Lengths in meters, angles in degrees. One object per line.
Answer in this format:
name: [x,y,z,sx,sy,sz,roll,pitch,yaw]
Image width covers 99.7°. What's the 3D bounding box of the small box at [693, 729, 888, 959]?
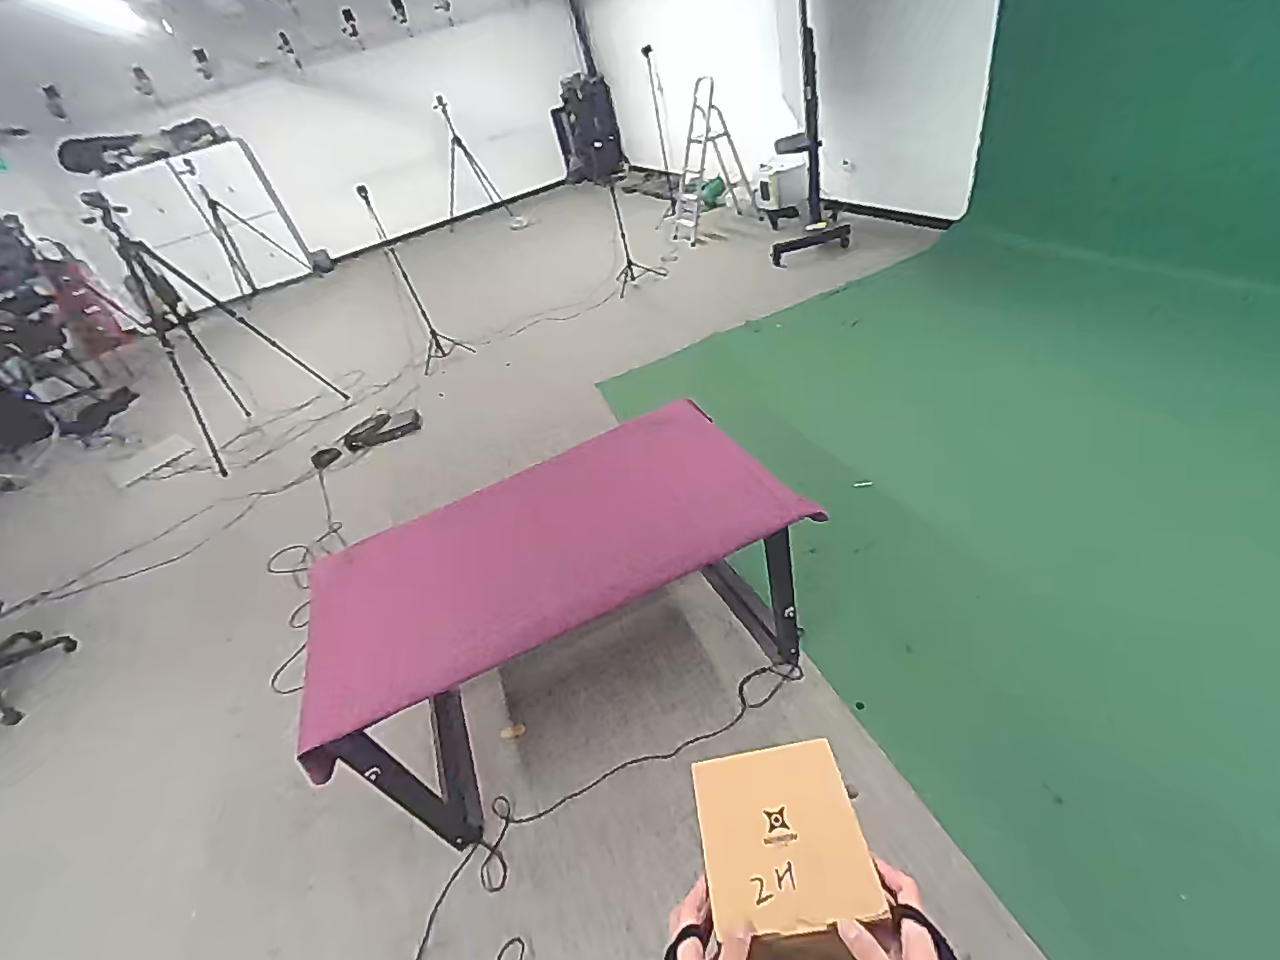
small box: [0.164,0.423,0.620,0.168,0.176,0.179,-14,34,5]
